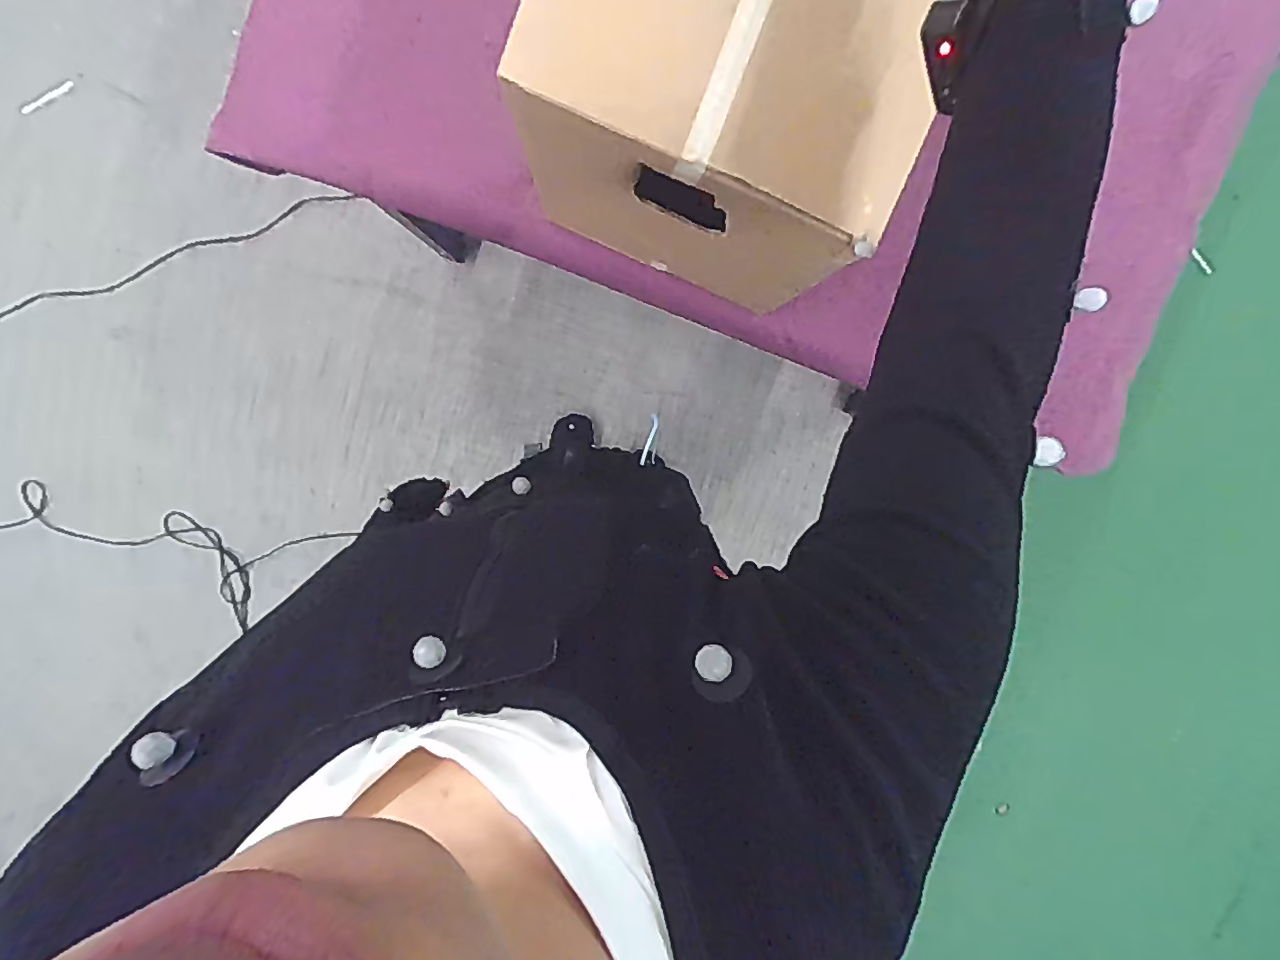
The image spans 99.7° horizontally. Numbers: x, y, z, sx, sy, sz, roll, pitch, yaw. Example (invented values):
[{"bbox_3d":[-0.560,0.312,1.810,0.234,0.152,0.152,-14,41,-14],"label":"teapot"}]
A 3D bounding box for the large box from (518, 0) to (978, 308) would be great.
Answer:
[{"bbox_3d":[0.110,-0.446,0.551,0.320,0.320,0.408,22,97,-5],"label":"large box"}]
